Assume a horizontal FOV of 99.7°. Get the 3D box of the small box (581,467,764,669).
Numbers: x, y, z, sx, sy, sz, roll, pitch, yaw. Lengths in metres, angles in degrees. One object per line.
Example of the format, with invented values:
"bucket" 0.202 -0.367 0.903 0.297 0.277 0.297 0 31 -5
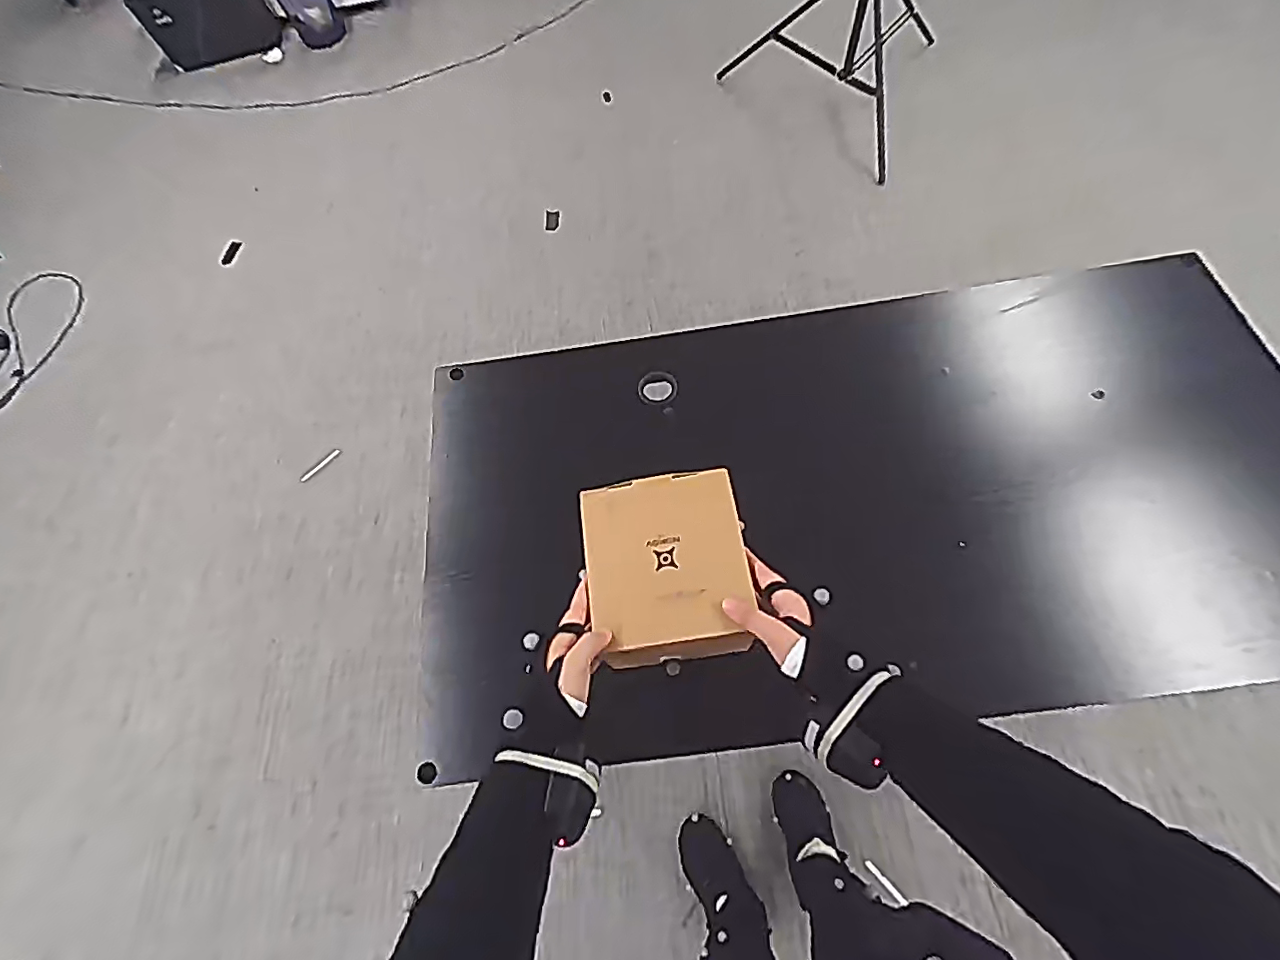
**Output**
"small box" 0.034 0.108 0.619 0.168 0.176 0.179 -10 66 2
